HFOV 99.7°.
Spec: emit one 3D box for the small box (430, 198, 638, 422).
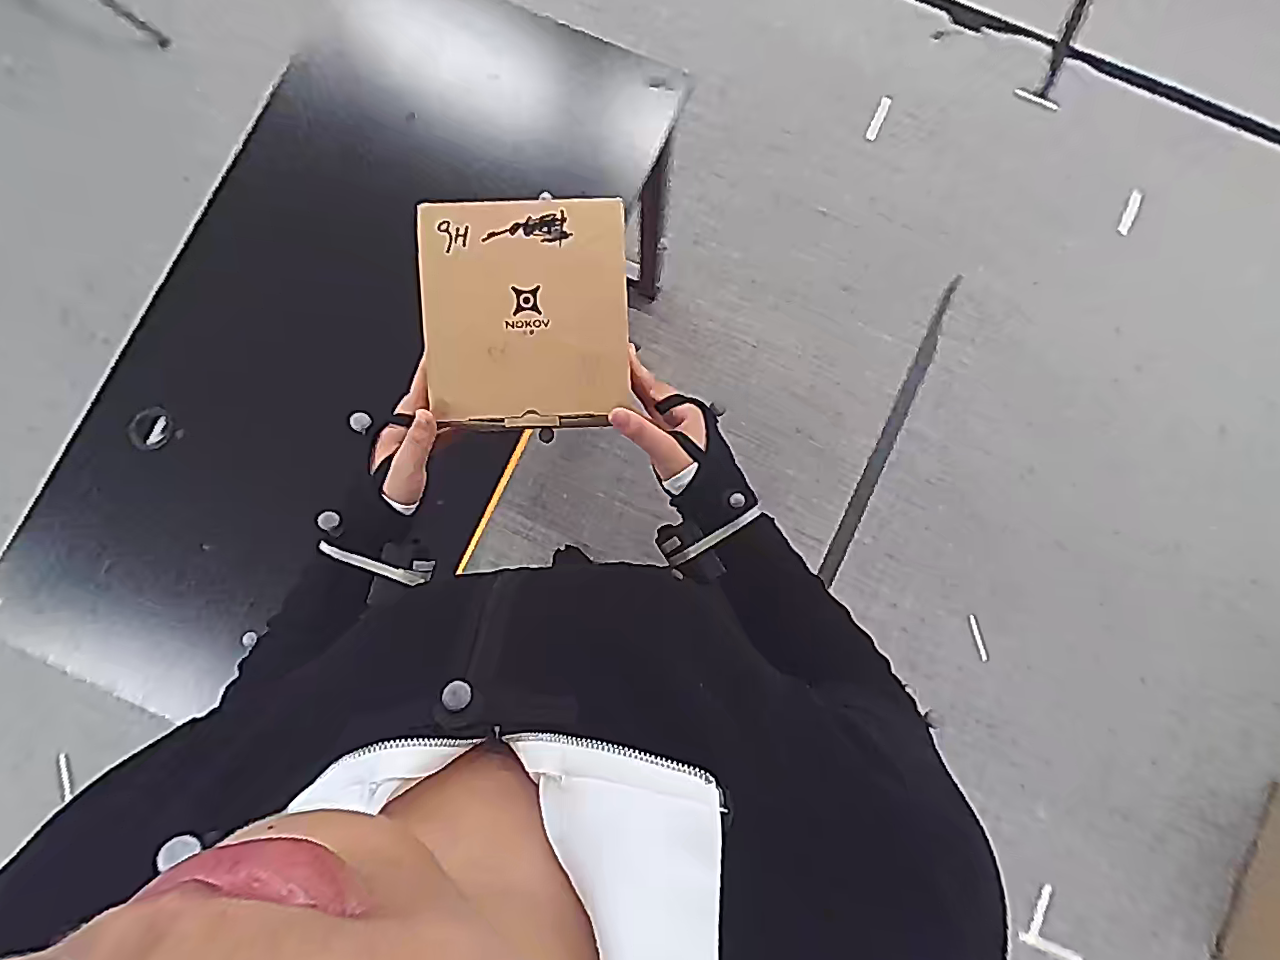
[{"bbox_3d":[-0.086,-0.144,0.518,0.168,0.176,0.179,-2,94,-1],"label":"small box"}]
